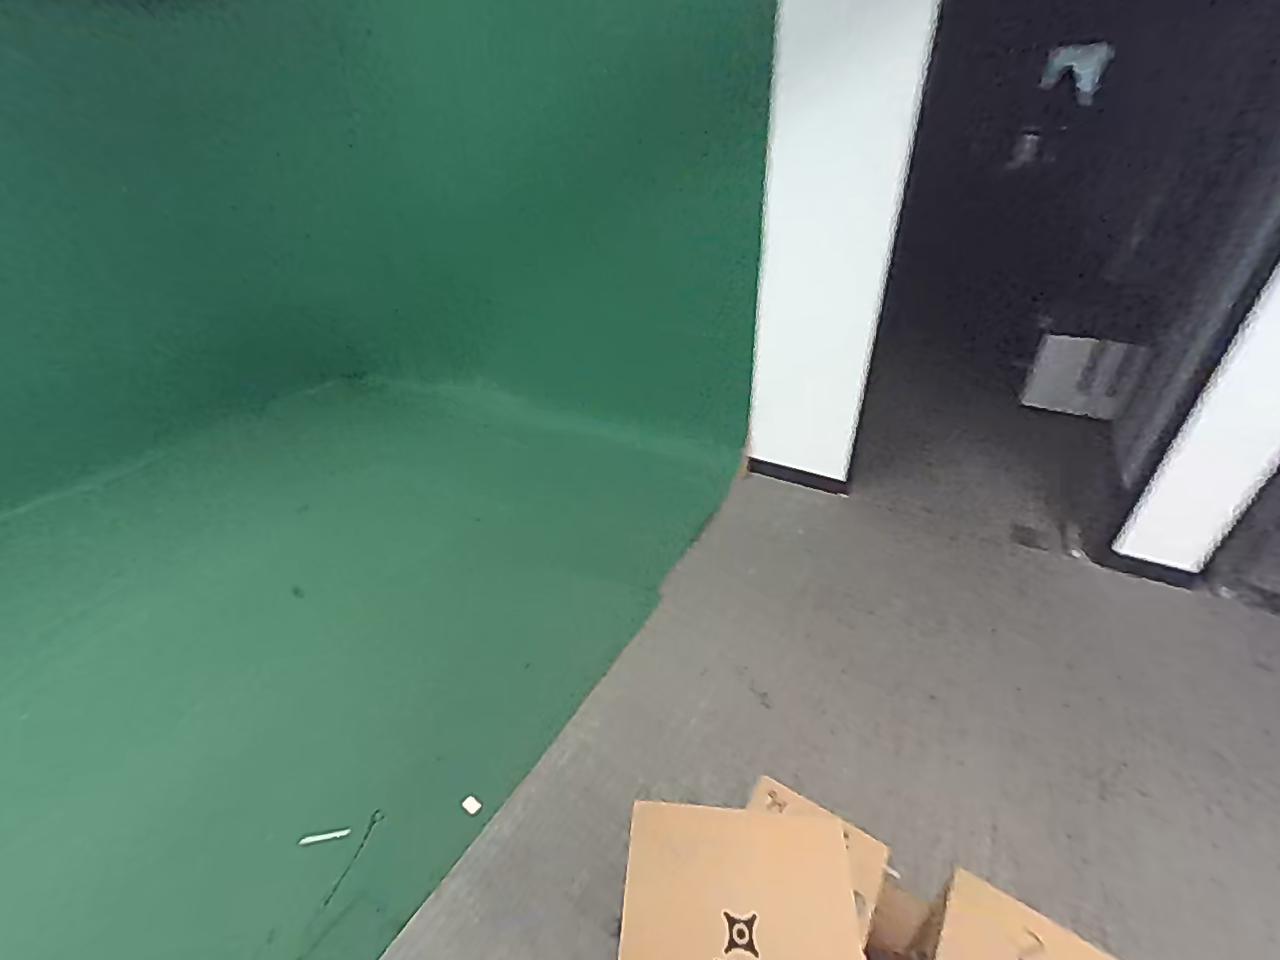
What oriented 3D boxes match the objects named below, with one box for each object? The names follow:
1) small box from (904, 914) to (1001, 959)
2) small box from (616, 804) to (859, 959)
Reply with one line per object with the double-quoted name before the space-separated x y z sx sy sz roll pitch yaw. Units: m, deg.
"small box" 0.410 0.714 0.675 0.168 0.176 0.179 20 41 31
"small box" 0.069 0.382 0.419 0.168 0.176 0.179 1 42 6
